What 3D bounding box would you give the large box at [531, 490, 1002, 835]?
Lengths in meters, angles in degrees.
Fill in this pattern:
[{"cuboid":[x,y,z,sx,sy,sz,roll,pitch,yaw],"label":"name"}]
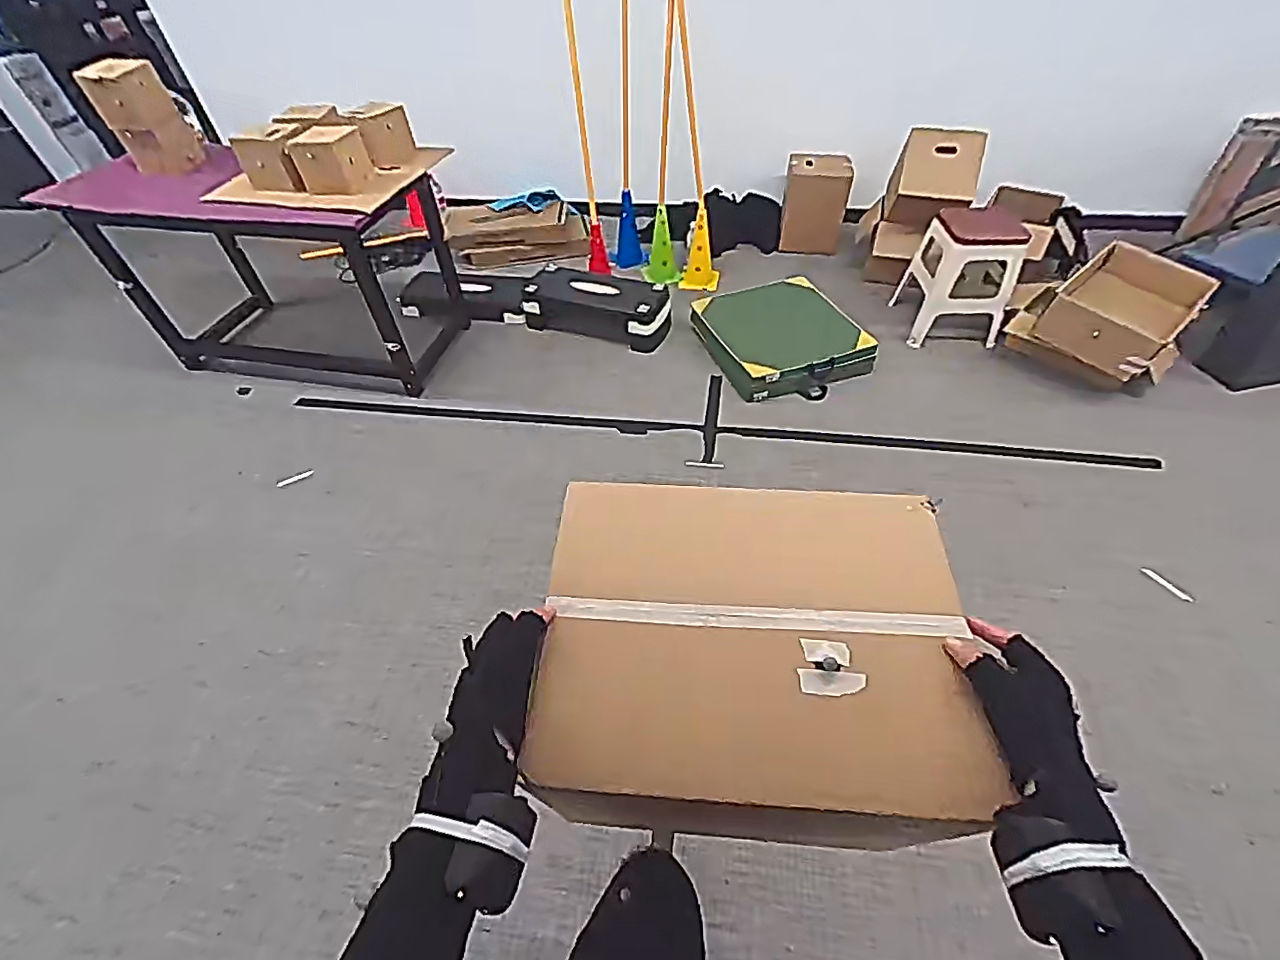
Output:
[{"cuboid":[0.114,0.229,0.661,0.408,0.320,0.320,2,54,4],"label":"large box"}]
